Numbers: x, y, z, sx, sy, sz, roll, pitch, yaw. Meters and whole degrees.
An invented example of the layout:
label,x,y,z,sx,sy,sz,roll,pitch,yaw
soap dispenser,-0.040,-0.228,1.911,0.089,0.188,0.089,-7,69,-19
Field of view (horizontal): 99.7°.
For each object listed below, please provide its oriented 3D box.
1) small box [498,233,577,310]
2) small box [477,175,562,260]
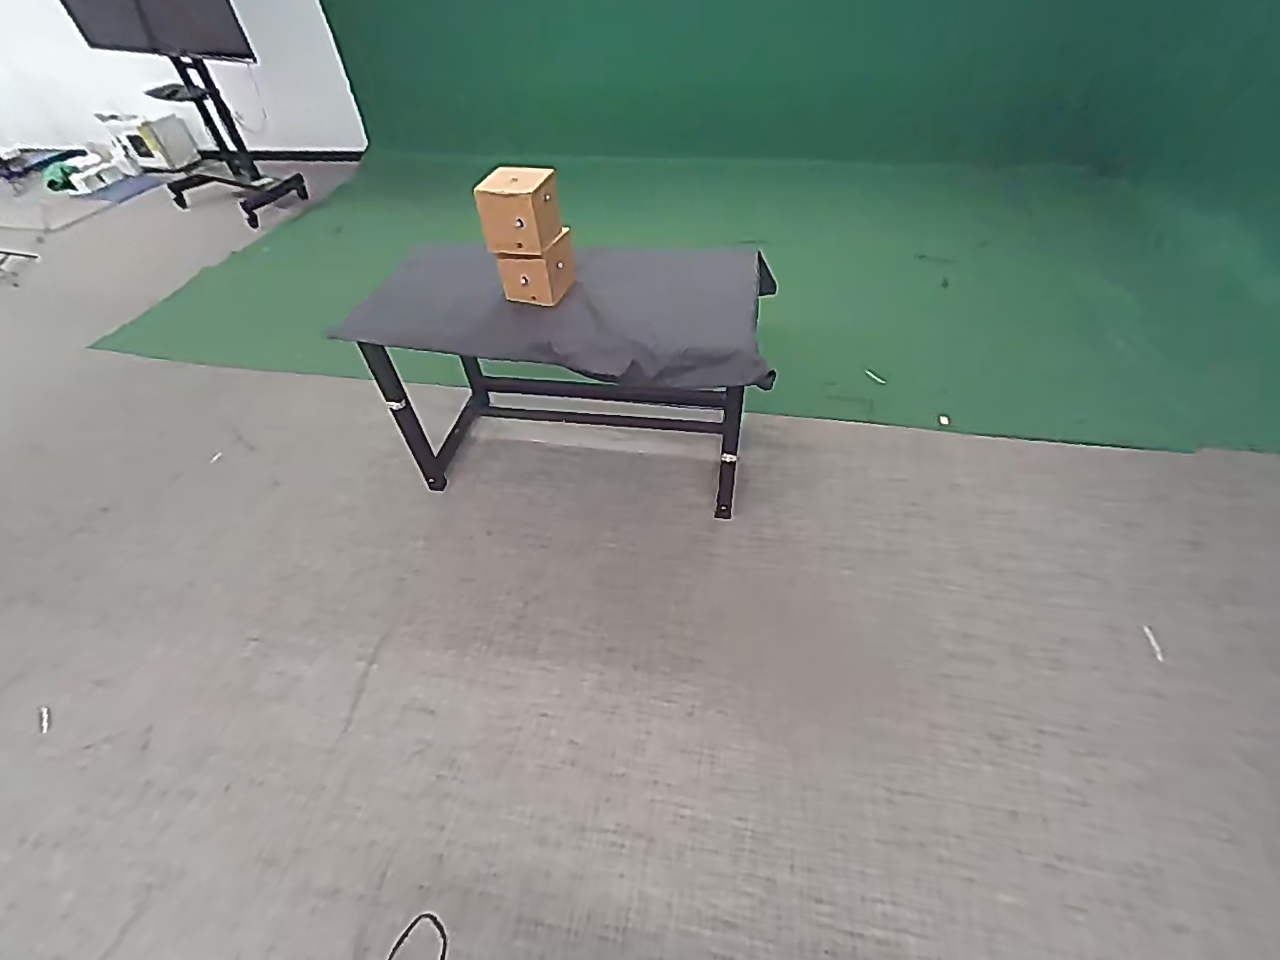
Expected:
label,x,y,z,sx,sy,sz,roll,pitch,yaw
small box,-0.304,-0.642,1.655,0.168,0.176,0.179,13,50,15
small box,-0.328,-0.738,1.523,0.168,0.176,0.179,9,48,11
